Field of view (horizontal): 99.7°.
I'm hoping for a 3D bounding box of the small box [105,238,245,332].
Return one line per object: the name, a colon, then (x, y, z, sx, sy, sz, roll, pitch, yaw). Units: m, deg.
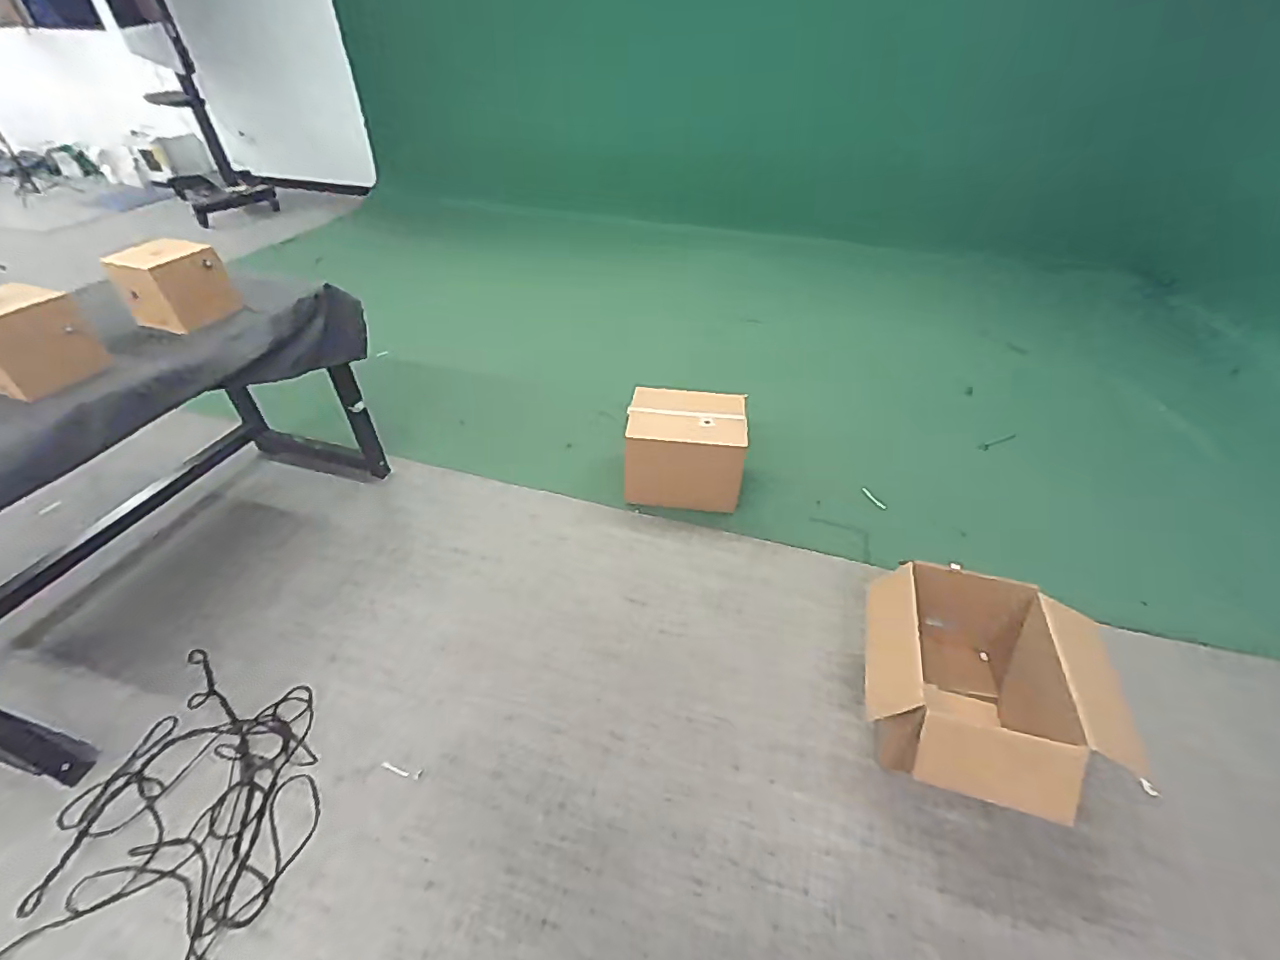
small box: (-1.159, -0.492, 1.367, 0.168, 0.176, 0.179, 13, 43, 14)
